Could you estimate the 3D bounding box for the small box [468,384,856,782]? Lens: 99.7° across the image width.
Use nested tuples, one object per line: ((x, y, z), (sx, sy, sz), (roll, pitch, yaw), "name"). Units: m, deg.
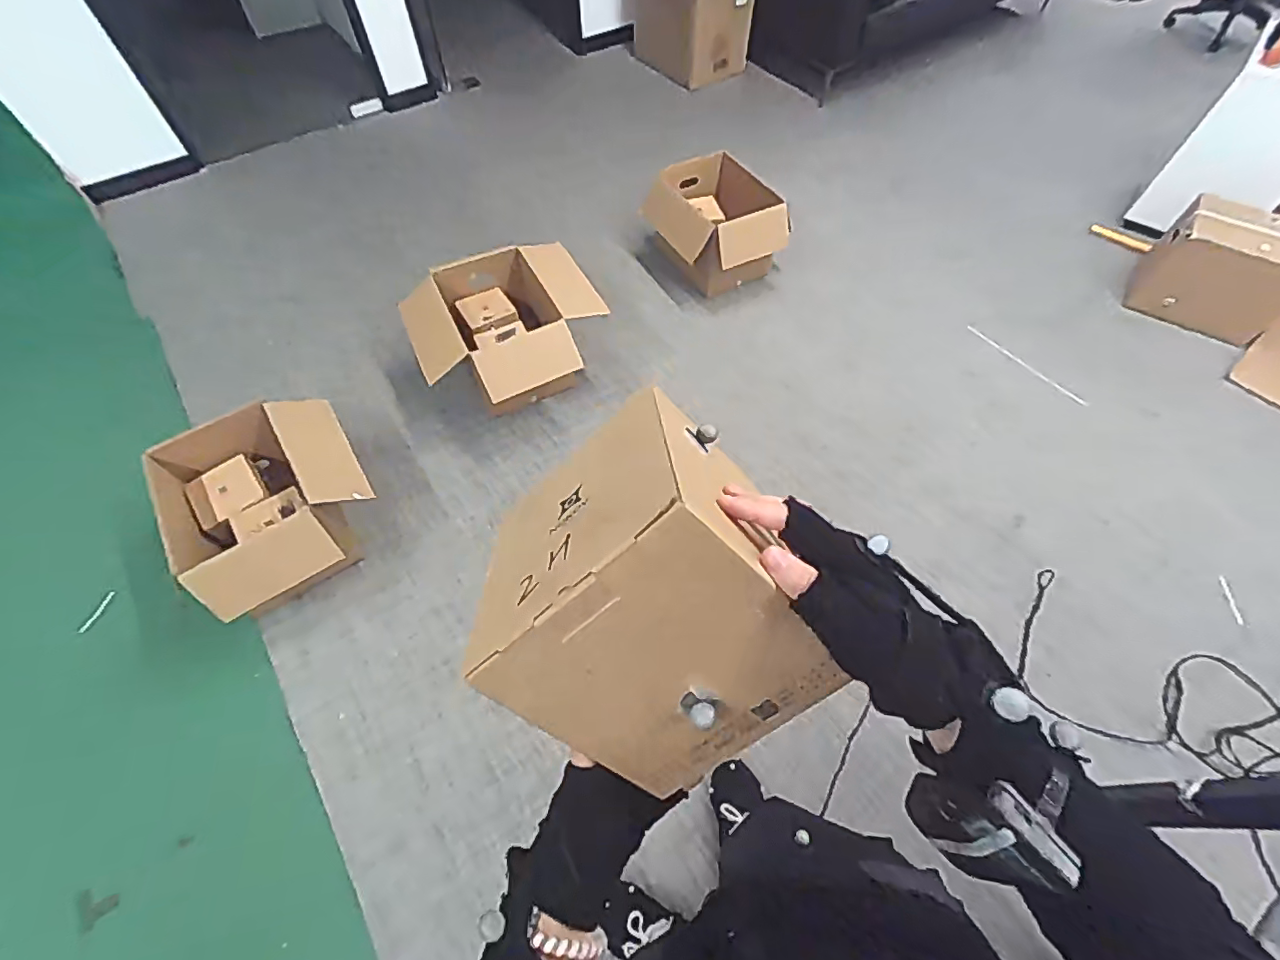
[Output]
((0.014, 0.067, 0.382), (0.168, 0.176, 0.179), (-41, 23, 16), "small box")
